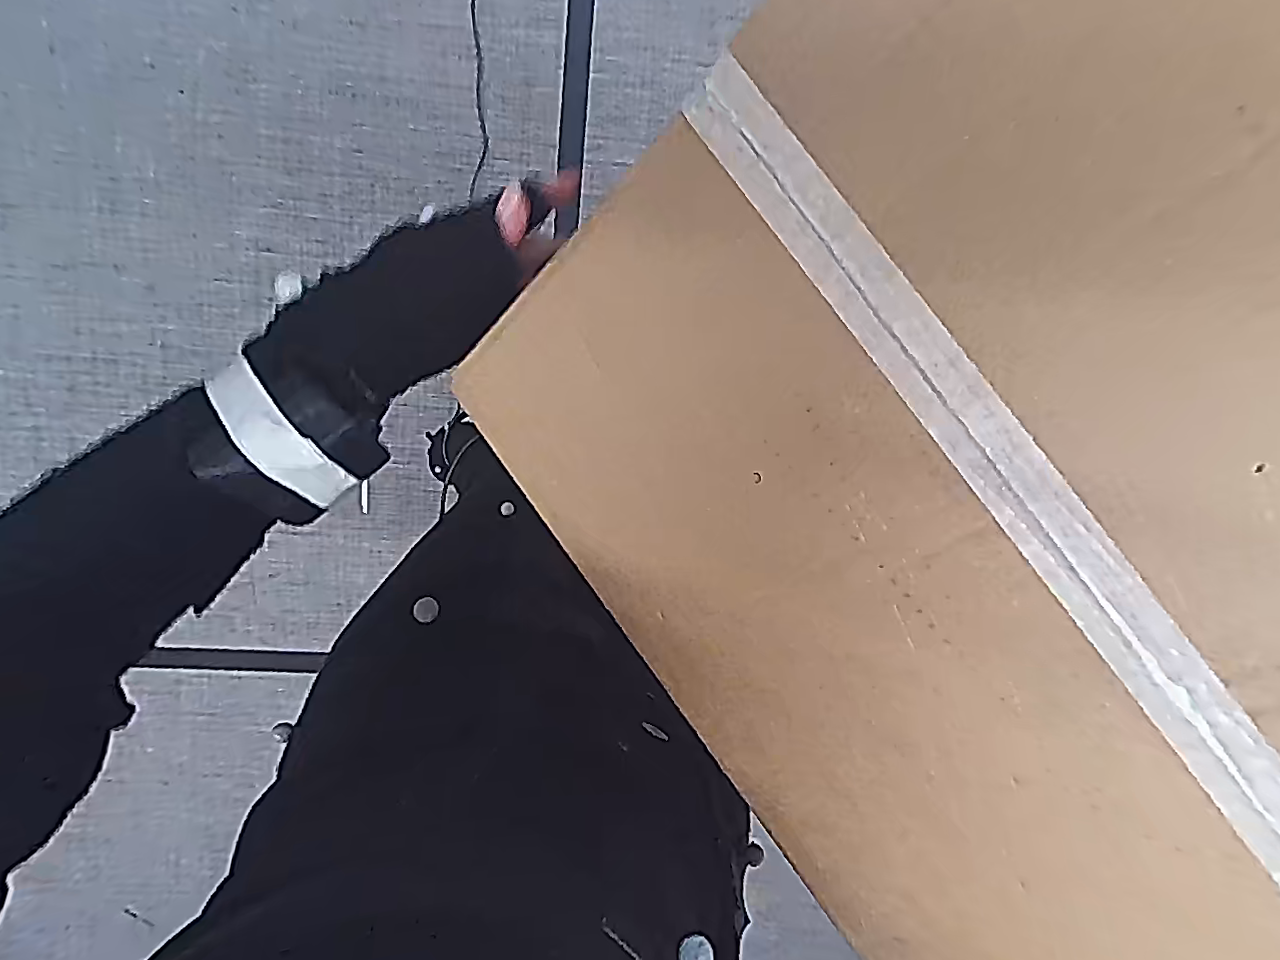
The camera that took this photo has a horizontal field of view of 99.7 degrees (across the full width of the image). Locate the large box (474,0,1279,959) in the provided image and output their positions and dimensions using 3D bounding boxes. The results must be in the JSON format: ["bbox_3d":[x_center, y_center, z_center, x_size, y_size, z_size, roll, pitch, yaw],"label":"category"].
[{"bbox_3d":[0.198,0.006,0.314,0.320,0.320,0.408,-37,88,28],"label":"large box"}]
